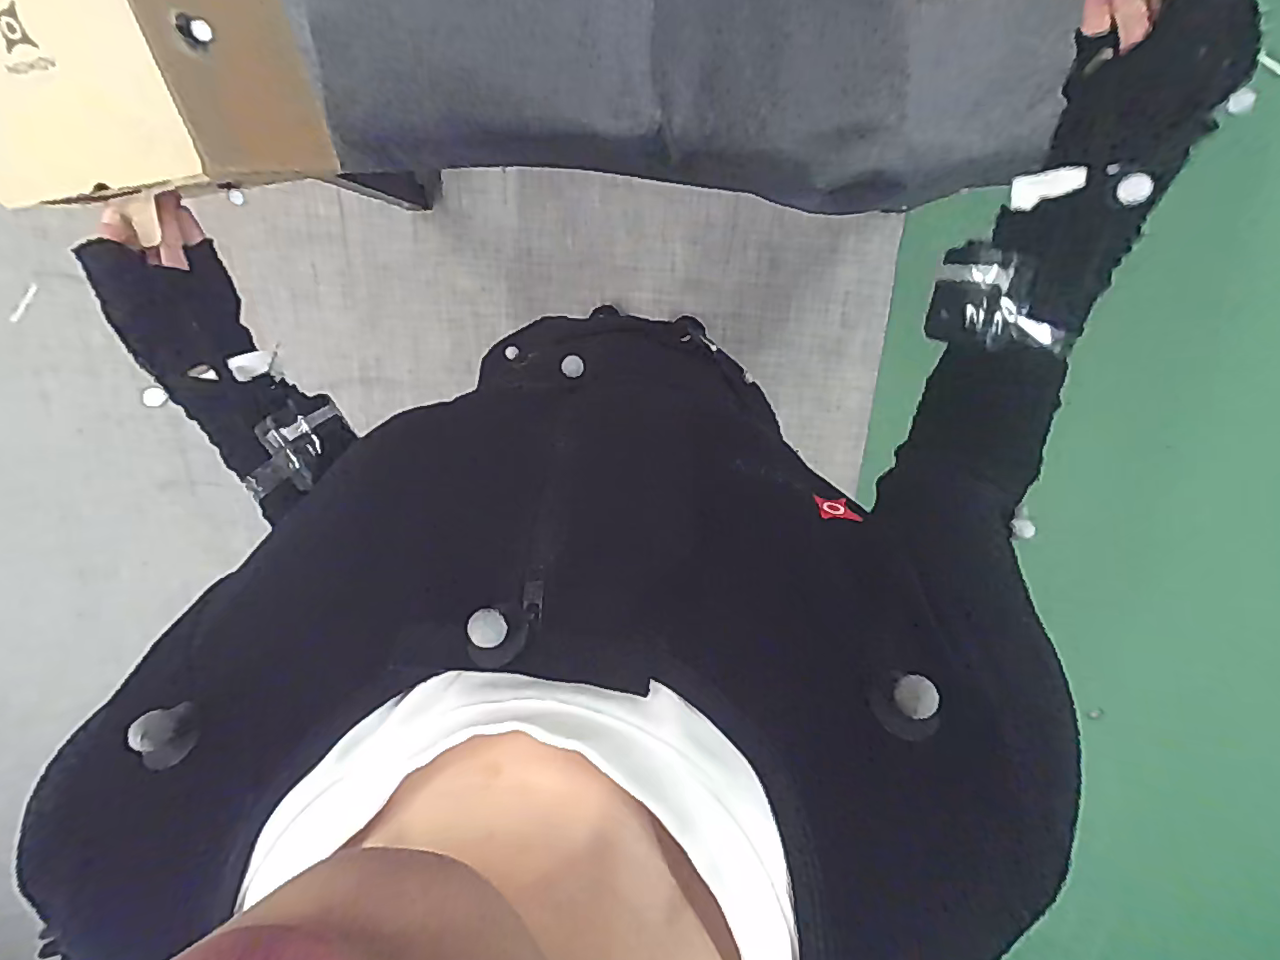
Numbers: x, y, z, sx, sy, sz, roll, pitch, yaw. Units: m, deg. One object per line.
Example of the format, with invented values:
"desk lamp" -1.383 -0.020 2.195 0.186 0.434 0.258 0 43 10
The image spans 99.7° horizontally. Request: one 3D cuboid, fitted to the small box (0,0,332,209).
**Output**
"small box" -0.367 -0.309 0.391 0.168 0.176 0.179 -5 120 7
